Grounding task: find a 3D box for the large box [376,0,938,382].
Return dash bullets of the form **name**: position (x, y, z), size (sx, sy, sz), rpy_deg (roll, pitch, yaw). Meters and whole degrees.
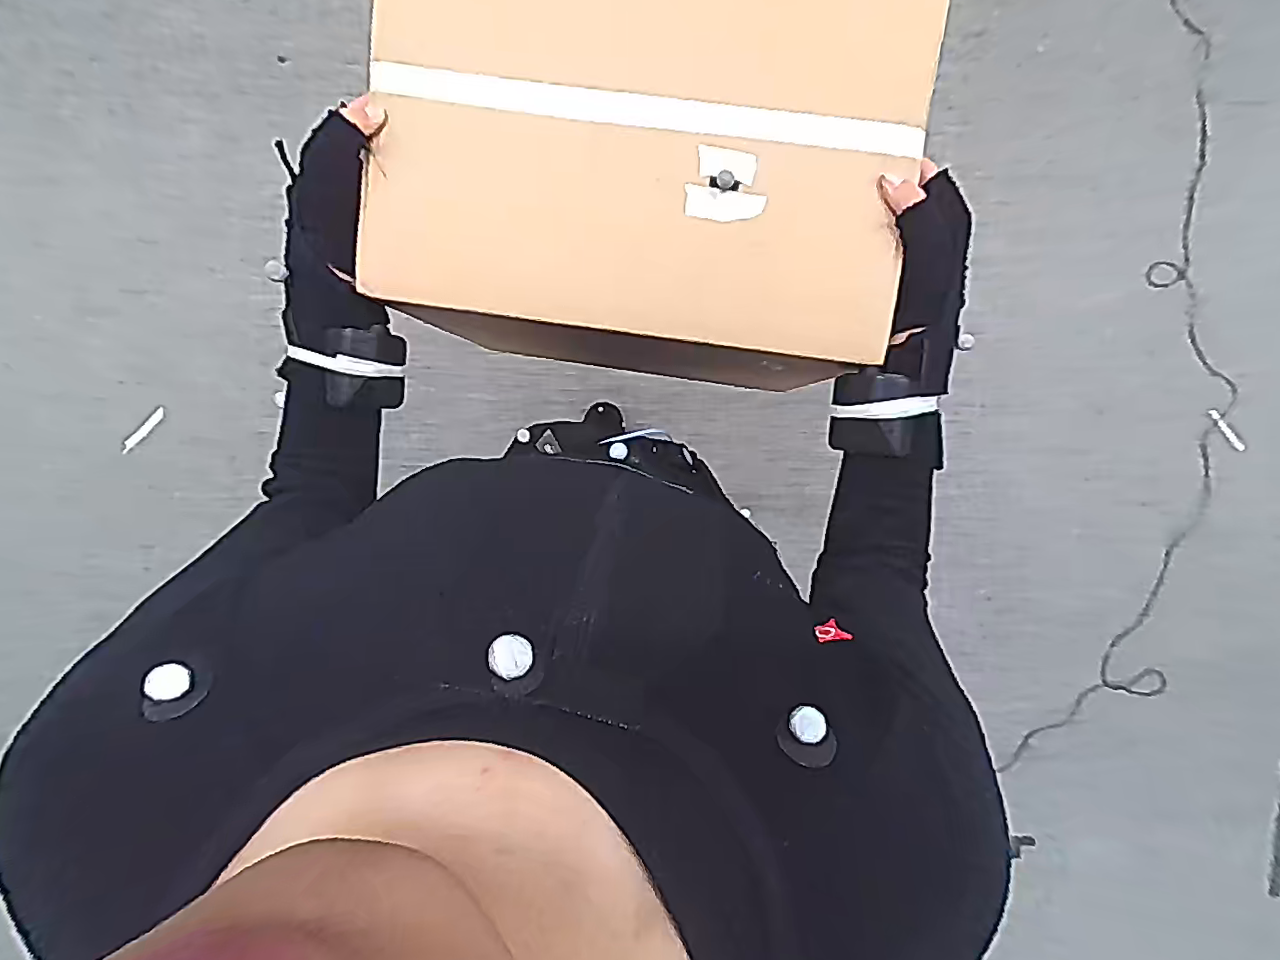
- **large box**: position (0.009, -0.287, 0.552), size (0.408, 0.320, 0.320), rpy_deg (8, 97, 0)
